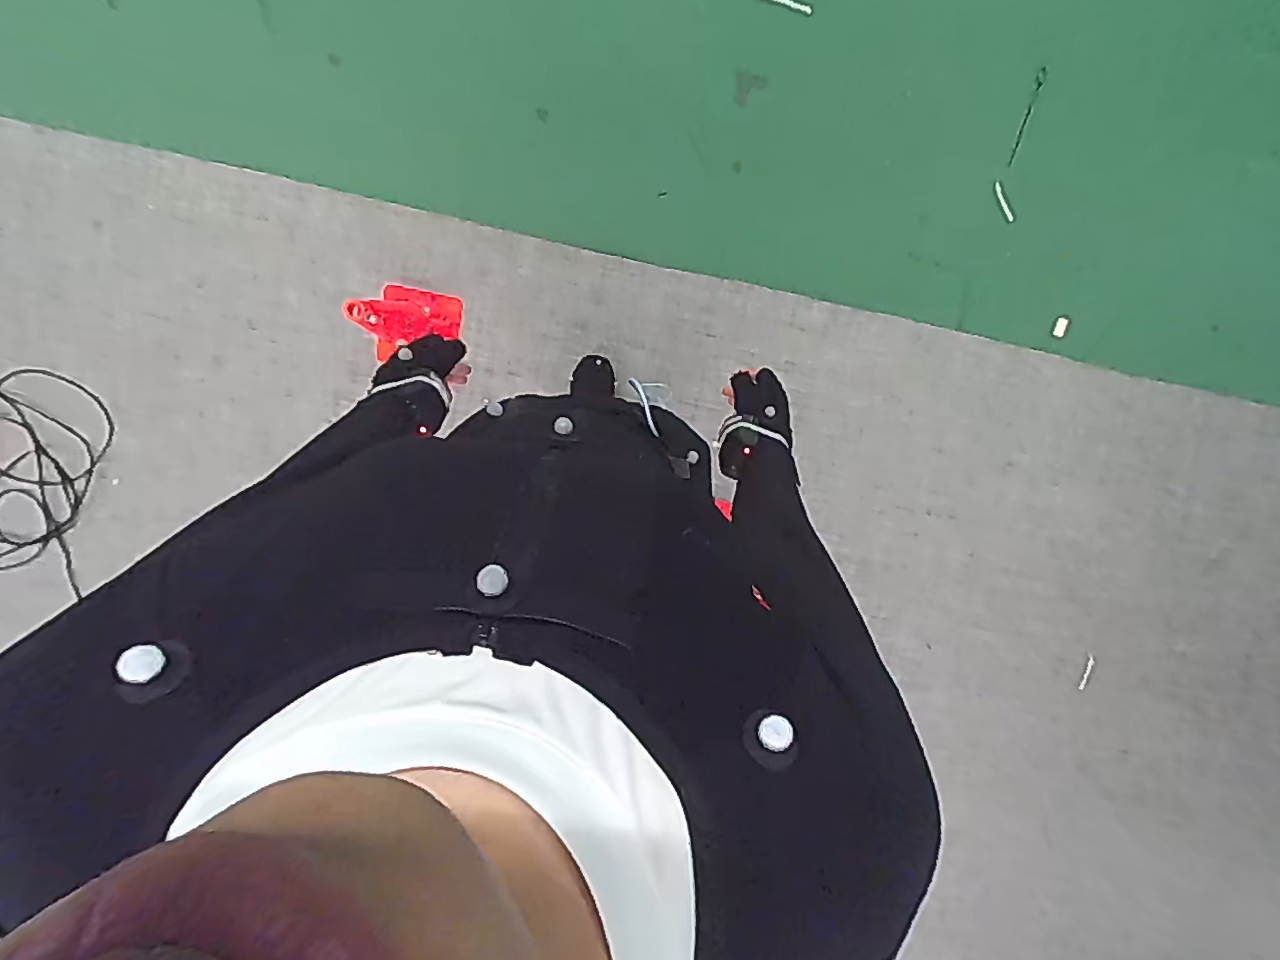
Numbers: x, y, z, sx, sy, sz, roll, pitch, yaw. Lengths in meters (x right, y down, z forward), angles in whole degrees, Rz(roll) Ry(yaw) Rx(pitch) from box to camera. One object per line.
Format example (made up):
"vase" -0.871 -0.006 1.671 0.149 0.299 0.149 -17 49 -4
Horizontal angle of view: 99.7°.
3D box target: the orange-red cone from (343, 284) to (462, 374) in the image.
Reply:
"orange-red cone" -0.556 -0.355 1.210 0.198 0.360 0.199 12 100 -4
